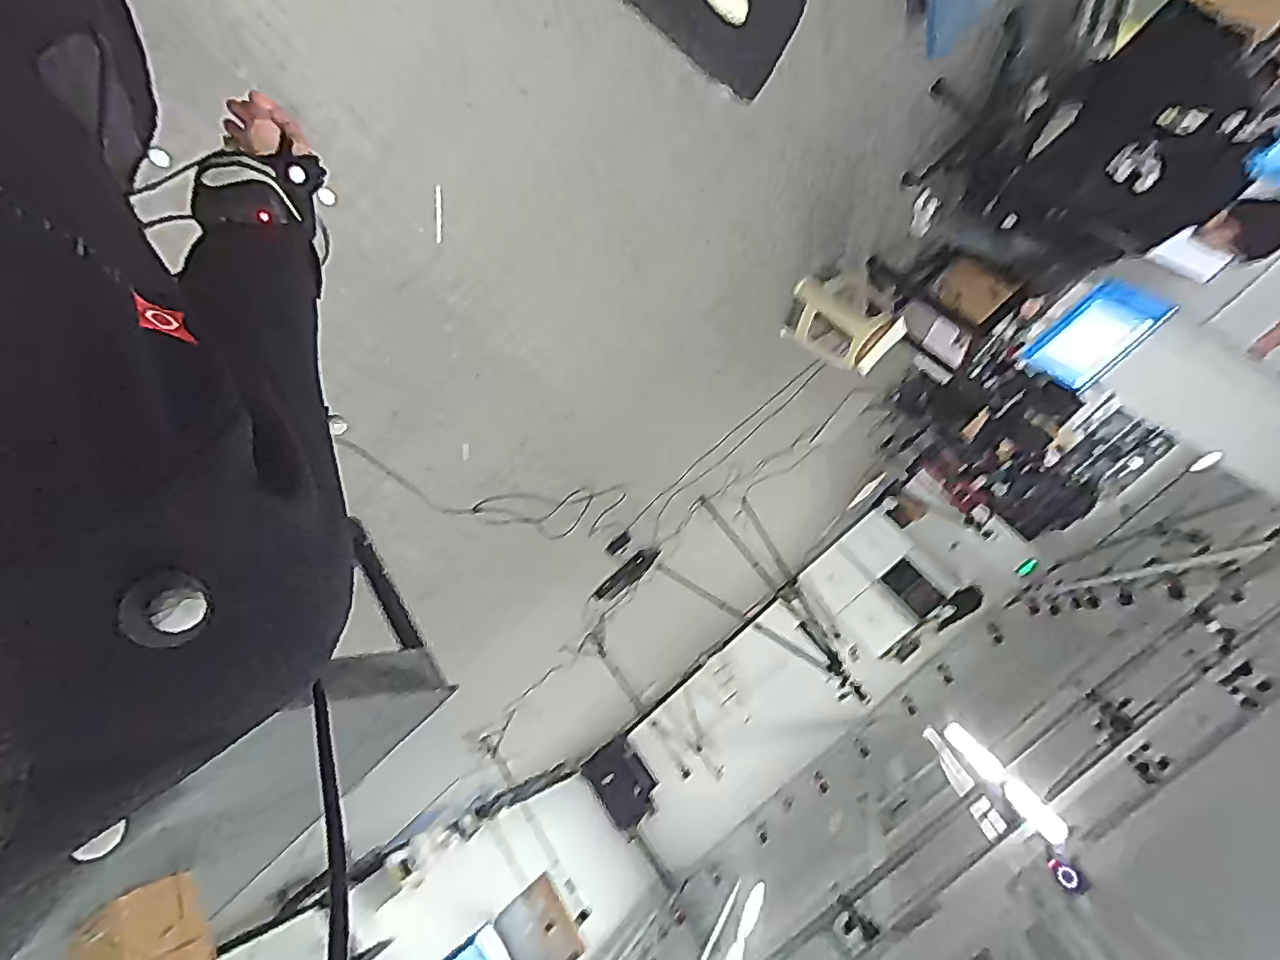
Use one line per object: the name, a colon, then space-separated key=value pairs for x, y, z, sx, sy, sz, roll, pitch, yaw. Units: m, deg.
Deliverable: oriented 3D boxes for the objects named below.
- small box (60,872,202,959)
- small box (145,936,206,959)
small box: x=-1.197 y=1.075 z=1.274 sx=0.168 sy=0.176 sz=0.179 roll=-44 pitch=154 yaw=3
small box: x=-1.098 y=1.181 z=1.198 sx=0.168 sy=0.176 sz=0.179 roll=-44 pitch=156 yaw=4
